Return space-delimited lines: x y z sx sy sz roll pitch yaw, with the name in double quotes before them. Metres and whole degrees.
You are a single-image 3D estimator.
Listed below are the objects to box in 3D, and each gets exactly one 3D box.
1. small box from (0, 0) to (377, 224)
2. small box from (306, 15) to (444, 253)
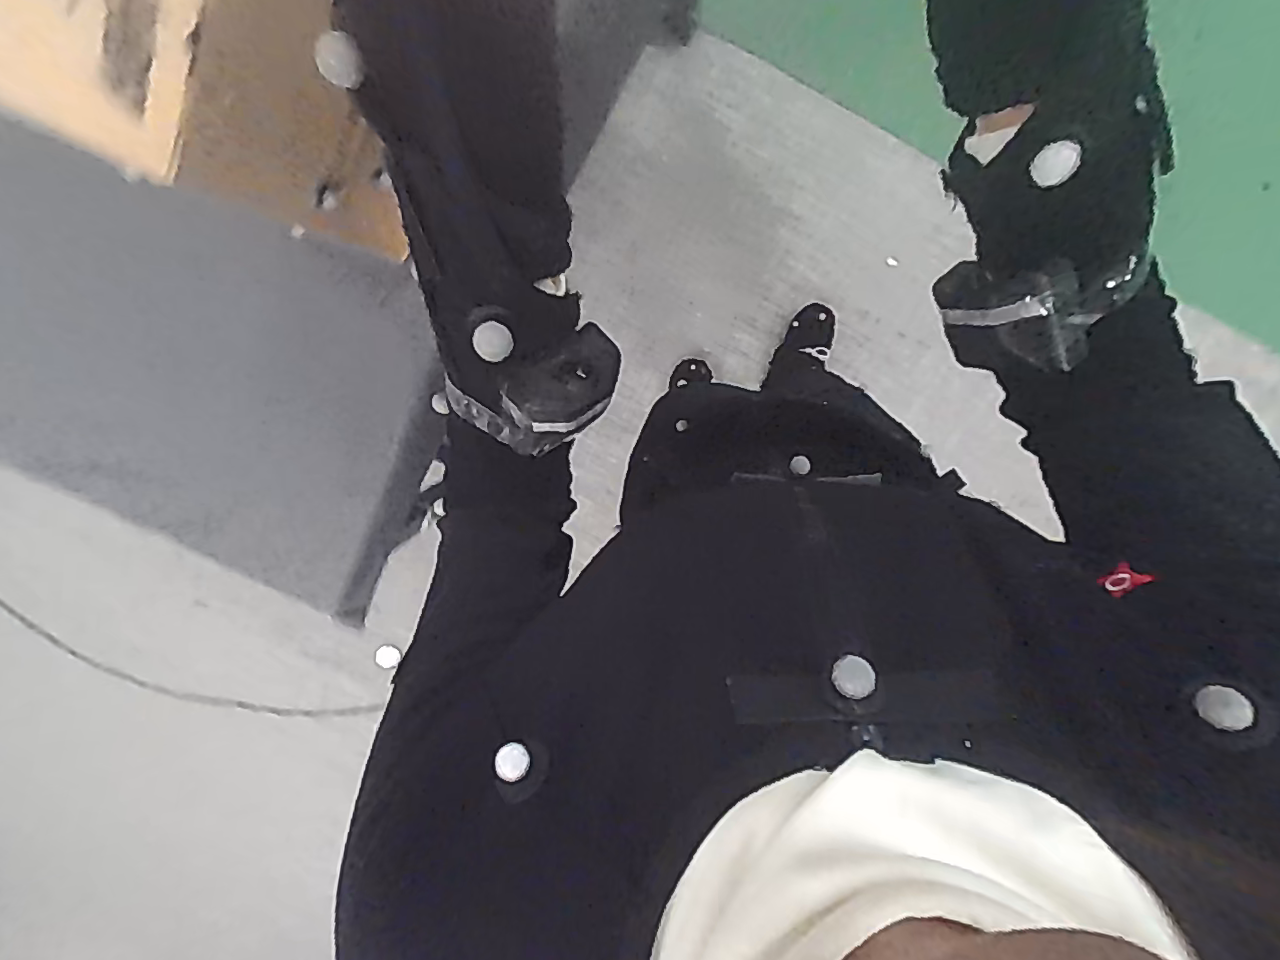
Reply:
"small box" -0.332 -0.312 0.399 0.179 0.176 0.168 24 104 0
"small box" -0.329 -0.358 0.560 0.168 0.176 0.179 21 103 1
